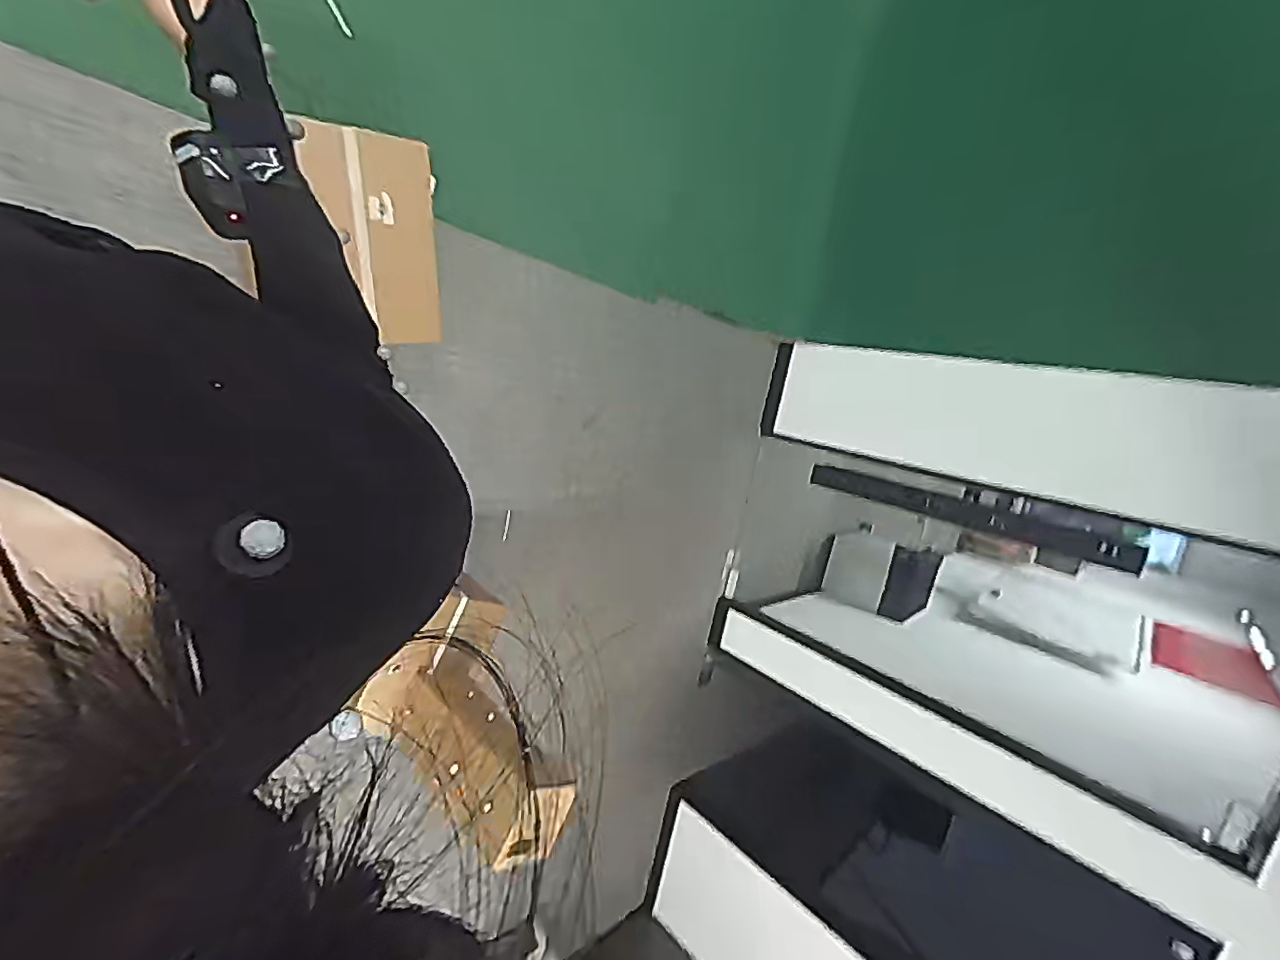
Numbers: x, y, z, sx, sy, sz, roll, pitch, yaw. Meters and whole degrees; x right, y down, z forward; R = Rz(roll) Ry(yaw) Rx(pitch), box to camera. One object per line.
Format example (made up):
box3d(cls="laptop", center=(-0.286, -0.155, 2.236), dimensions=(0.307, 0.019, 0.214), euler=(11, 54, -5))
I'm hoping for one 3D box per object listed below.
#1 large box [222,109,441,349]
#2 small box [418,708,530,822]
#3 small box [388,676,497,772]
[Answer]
box3d(cls="large box", center=(-0.664, -0.505, 1.177), dimensions=(0.320, 0.320, 0.408), euler=(-15, 114, -42))
box3d(cls="small box", center=(-0.405, 0.681, 1.301), dimensions=(0.168, 0.176, 0.179), euler=(34, 80, -49))
box3d(cls="small box", center=(-0.515, 0.629, 1.408), dimensions=(0.179, 0.176, 0.168), euler=(31, 82, -49))
